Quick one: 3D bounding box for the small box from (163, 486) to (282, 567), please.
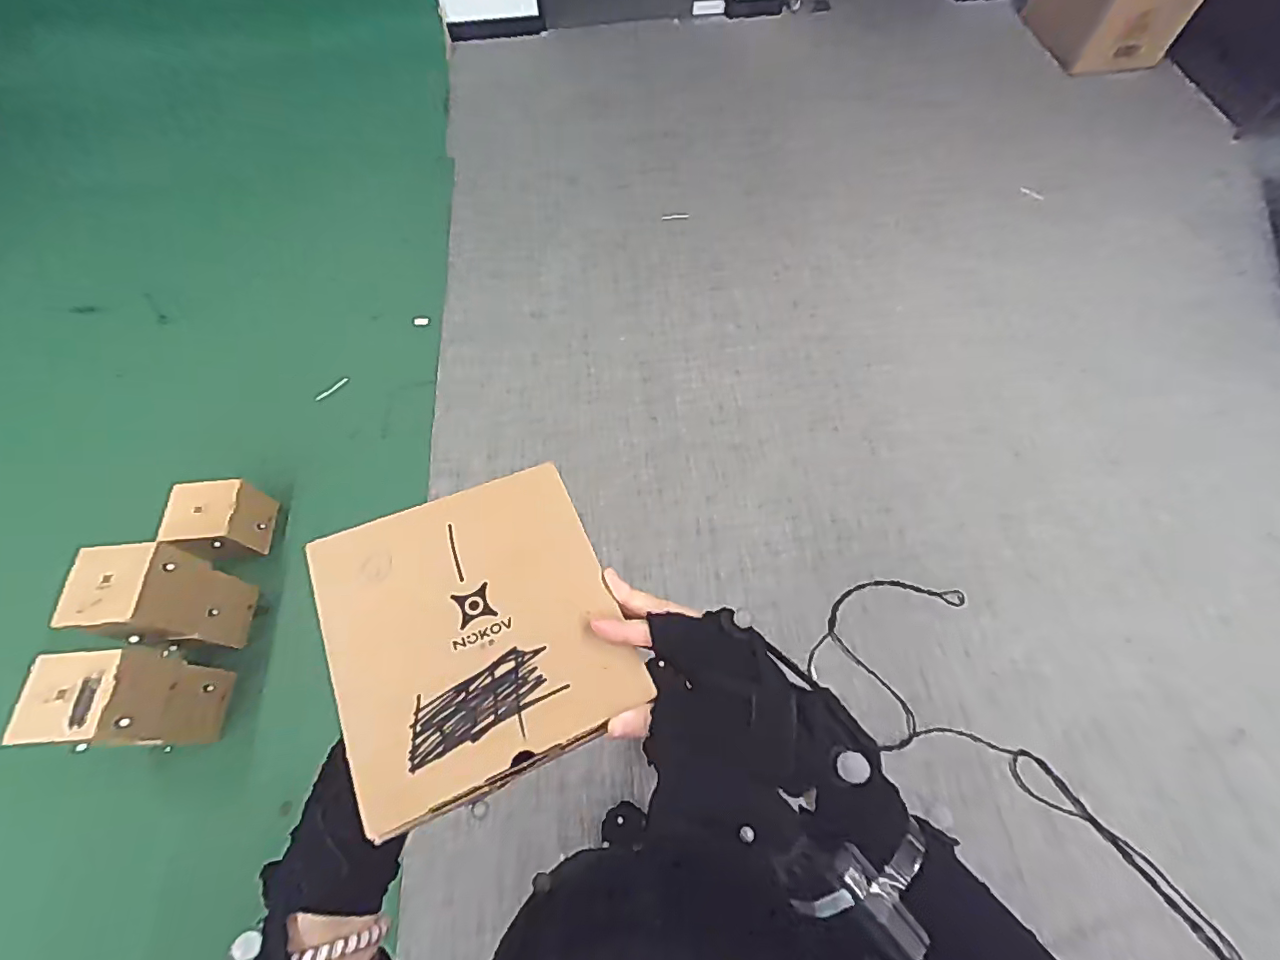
[{"bbox_3d":[-1.136,0.132,1.485,0.179,0.176,0.168,-6,63,-2],"label":"small box"}]

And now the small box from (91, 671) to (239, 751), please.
[{"bbox_3d":[-1.102,0.546,1.274,0.179,0.176,0.168,-2,63,0],"label":"small box"}]
